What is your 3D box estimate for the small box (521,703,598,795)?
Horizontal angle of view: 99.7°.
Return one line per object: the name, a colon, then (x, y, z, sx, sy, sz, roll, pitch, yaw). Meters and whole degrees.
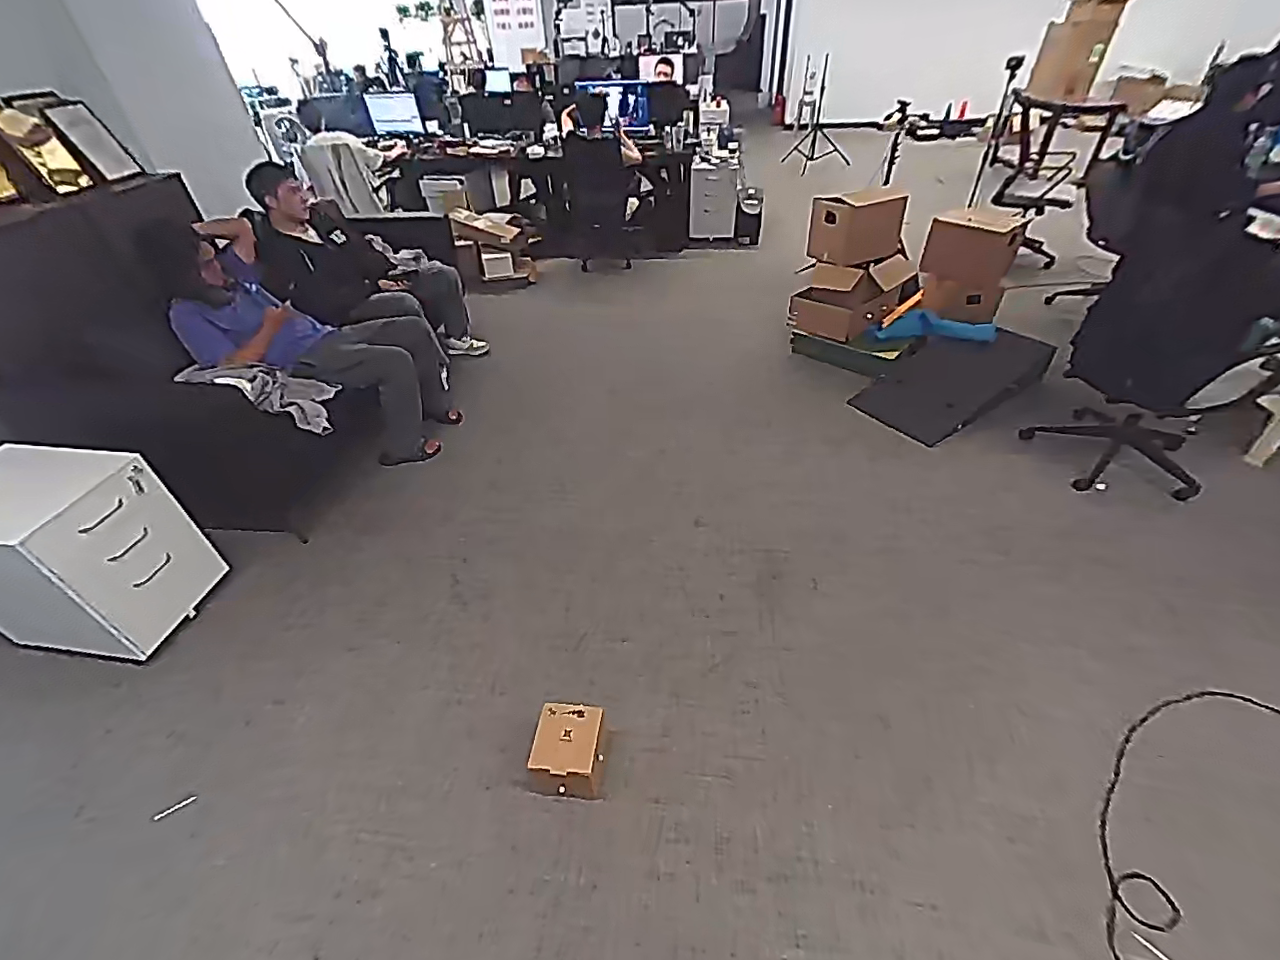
small box: (-0.210, 0.734, 1.474, 0.168, 0.176, 0.179, 1, 40, 5)
